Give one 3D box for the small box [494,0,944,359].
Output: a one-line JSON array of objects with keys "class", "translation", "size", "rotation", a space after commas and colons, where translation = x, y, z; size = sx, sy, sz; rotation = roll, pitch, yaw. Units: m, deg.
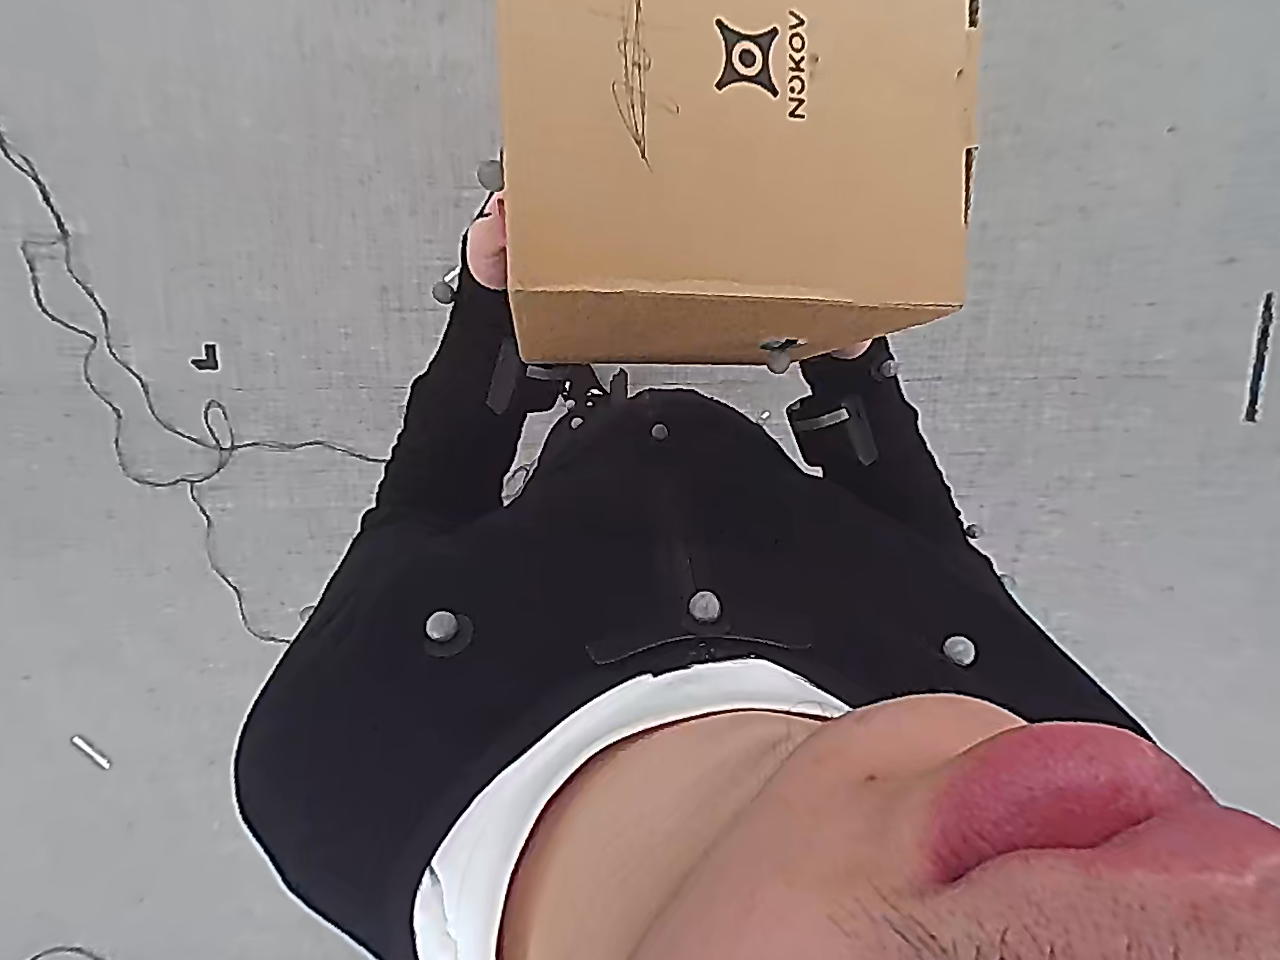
[{"class": "small box", "translation": [0.020, -0.159, 0.277], "size": [0.179, 0.176, 0.168], "rotation": [-2, 94, -11]}]
